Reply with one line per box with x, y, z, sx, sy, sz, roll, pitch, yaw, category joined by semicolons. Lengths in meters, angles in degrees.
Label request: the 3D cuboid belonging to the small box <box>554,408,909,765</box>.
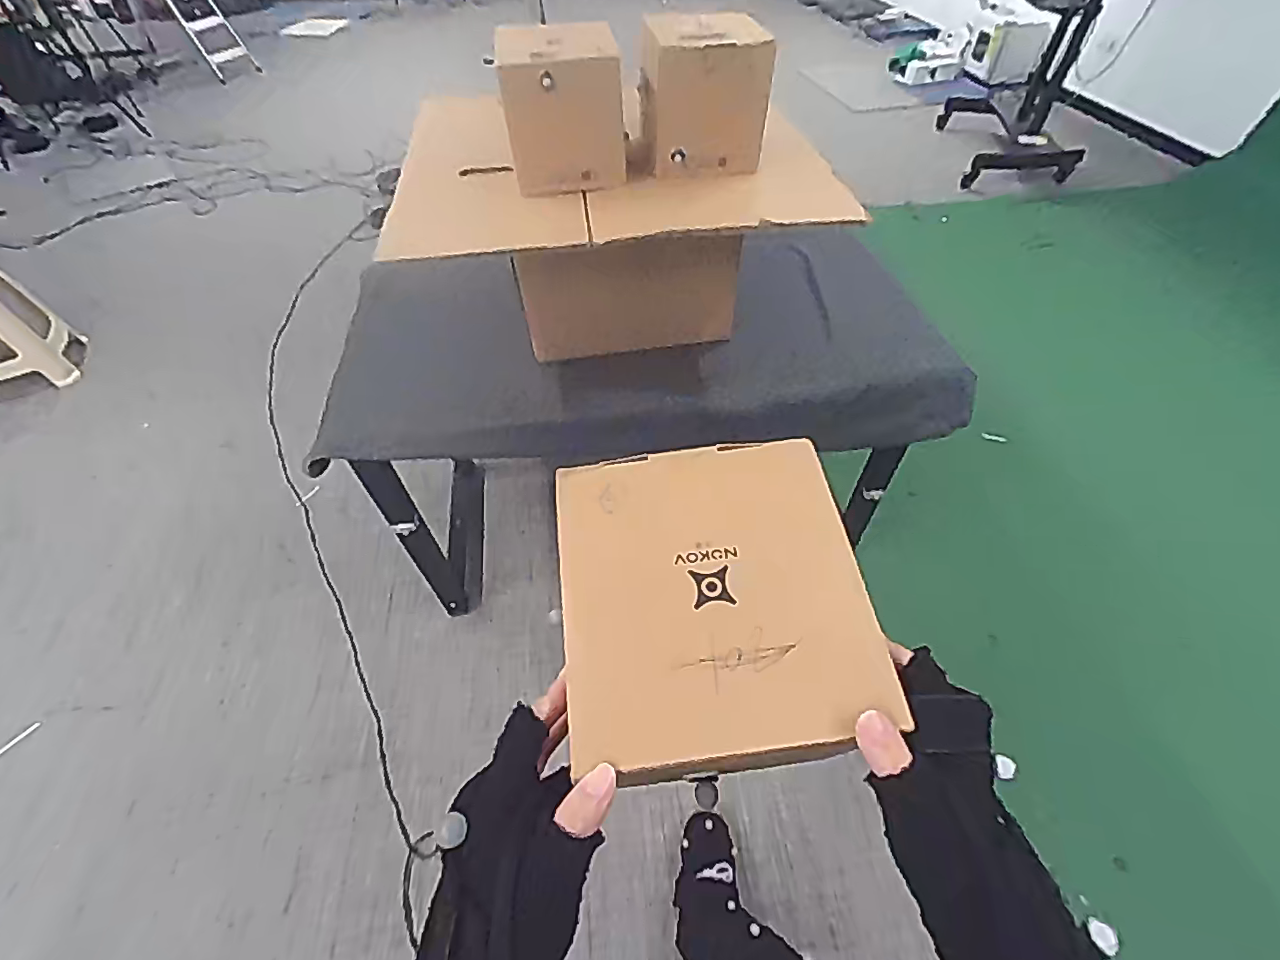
0.038;0.078;0.361;0.168;0.176;0.179;-7;59;-2;small box

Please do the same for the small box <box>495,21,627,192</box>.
-0.113;-0.560;0.815;0.168;0.176;0.179;-8;51;-2;small box
